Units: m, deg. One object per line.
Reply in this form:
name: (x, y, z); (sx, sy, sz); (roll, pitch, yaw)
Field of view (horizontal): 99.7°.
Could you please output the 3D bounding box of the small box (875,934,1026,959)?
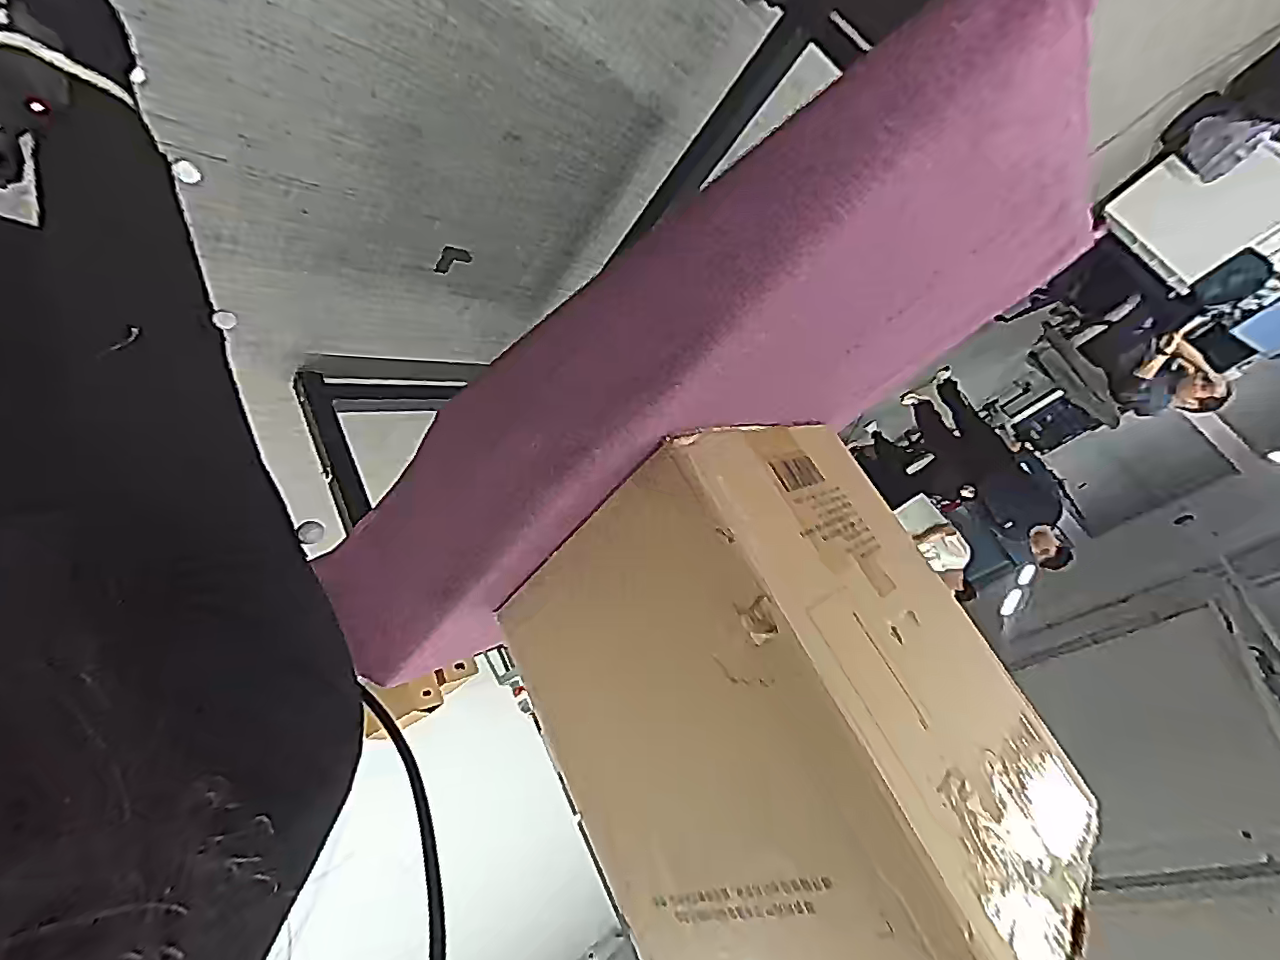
small box: (0.334, 0.602, 0.543); (0.179, 0.176, 0.168); (-10, 155, -47)
